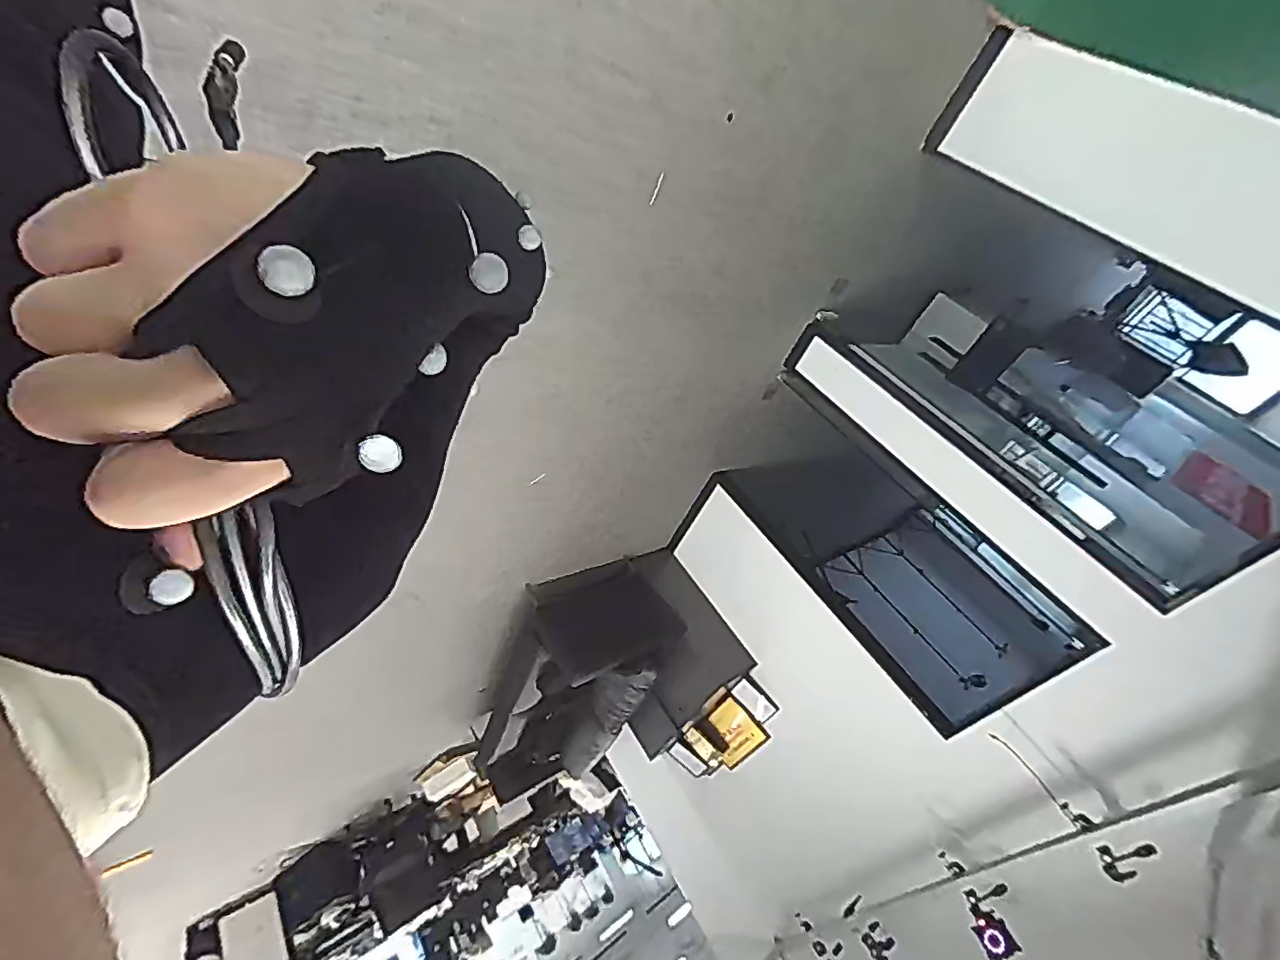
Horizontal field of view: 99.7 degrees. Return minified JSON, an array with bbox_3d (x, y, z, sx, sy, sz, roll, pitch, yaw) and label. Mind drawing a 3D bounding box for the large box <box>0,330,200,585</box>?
[{"bbox_3d":[-1.203,-0.054,1.144,0.320,0.320,0.408,-16,145,-36],"label":"large box"}]
